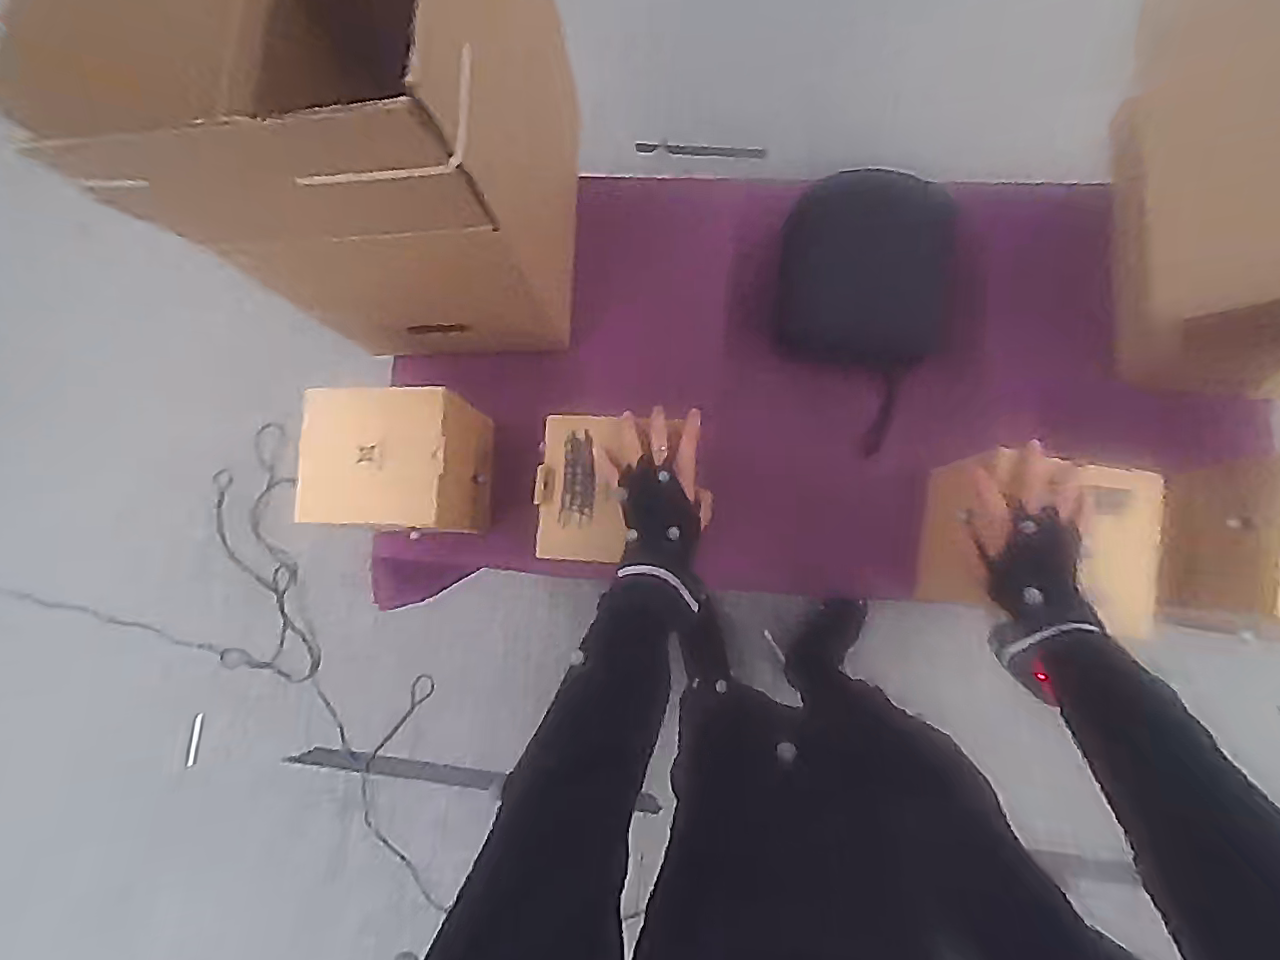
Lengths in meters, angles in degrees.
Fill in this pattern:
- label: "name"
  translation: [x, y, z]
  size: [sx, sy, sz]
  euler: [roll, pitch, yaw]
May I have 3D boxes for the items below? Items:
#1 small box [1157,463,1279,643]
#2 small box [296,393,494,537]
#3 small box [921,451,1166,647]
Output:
- label: "small box"
  translation: [0.730, 0.087, 0.607]
  size: [0.168, 0.176, 0.179]
  euler: [15, 83, 8]
- label: "small box"
  translation: [-0.310, -0.011, 0.716]
  size: [0.179, 0.176, 0.168]
  euler: [0, 81, 4]
- label: "small box"
  translation: [0.453, 0.078, 0.635]
  size: [0.168, 0.176, 0.179]
  euler: [10, 84, 7]
